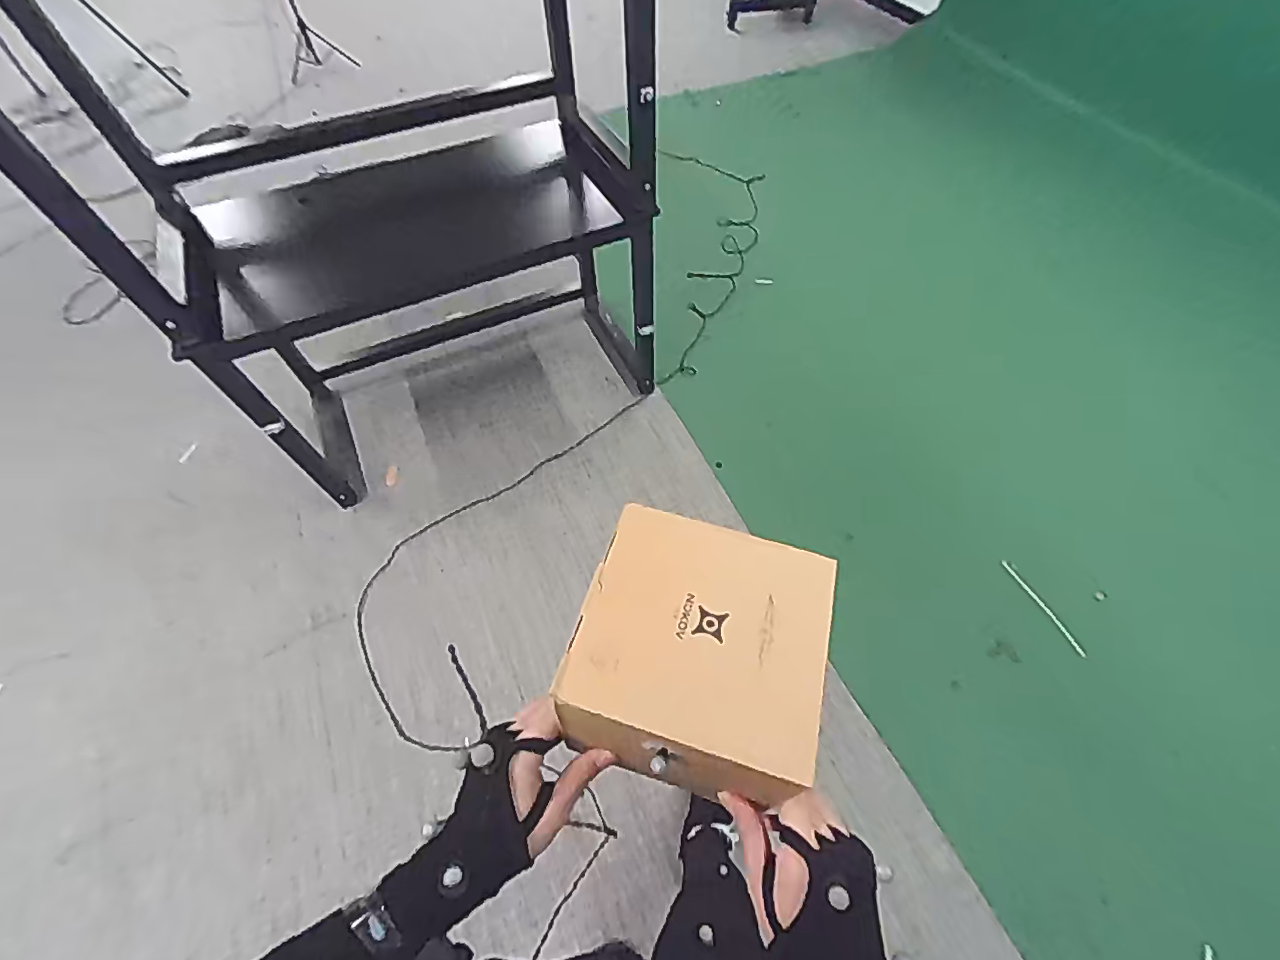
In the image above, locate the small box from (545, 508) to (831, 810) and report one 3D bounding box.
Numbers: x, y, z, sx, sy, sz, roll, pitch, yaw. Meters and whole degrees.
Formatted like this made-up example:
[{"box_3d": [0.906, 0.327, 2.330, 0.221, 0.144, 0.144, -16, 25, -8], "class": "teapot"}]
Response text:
[{"box_3d": [0.040, 0.154, 0.452, 0.179, 0.176, 0.168, 16, 54, 9], "class": "small box"}]
